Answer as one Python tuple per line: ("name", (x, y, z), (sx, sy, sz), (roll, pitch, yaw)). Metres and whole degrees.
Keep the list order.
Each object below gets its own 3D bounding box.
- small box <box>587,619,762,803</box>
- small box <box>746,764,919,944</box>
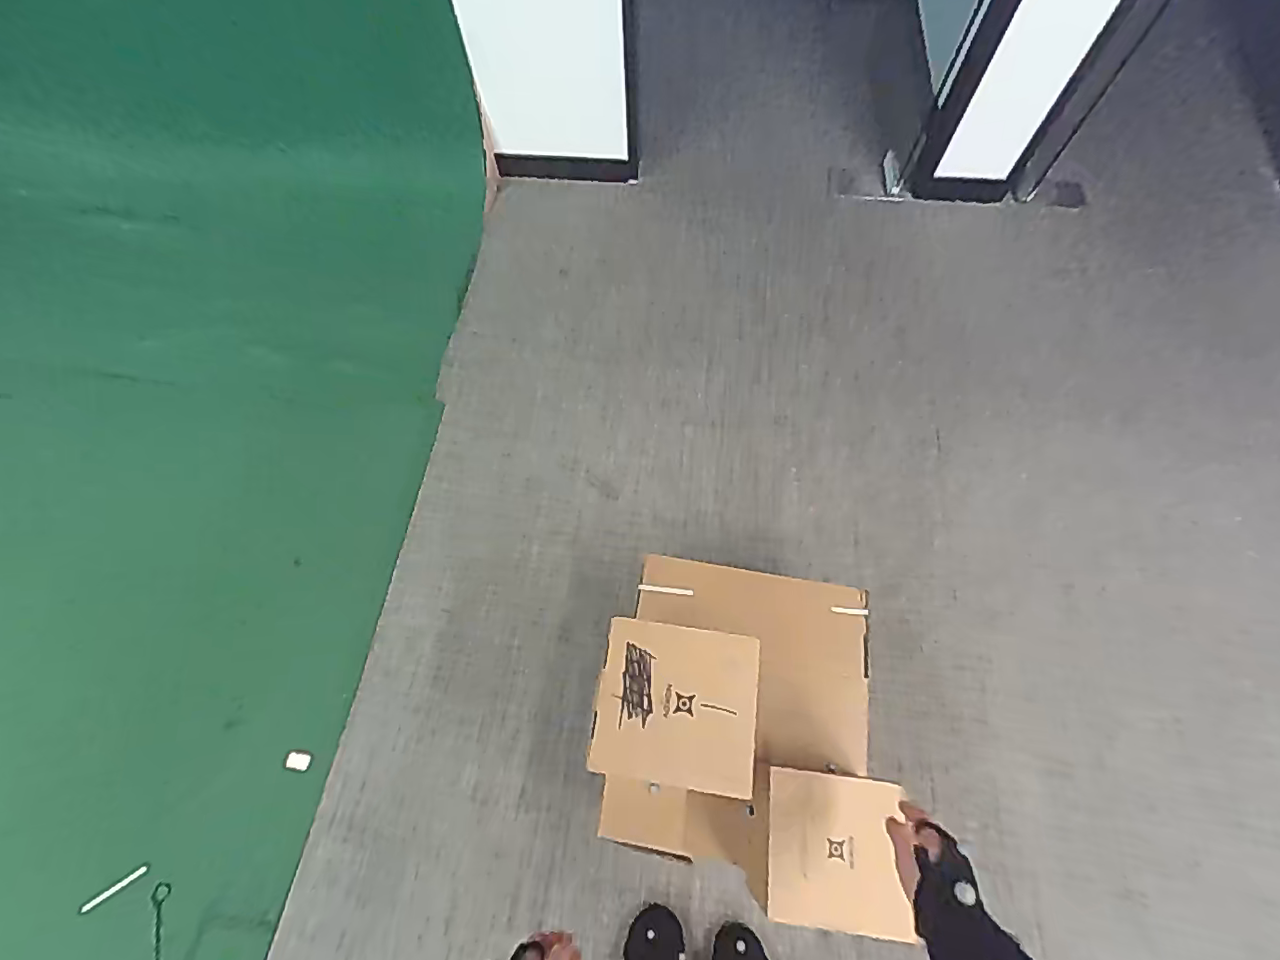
("small box", (0.044, 0.281, 0.661), (0.179, 0.176, 0.168), (7, 64, 5))
("small box", (0.249, 0.492, 0.738), (0.179, 0.176, 0.168), (6, 64, 4))
